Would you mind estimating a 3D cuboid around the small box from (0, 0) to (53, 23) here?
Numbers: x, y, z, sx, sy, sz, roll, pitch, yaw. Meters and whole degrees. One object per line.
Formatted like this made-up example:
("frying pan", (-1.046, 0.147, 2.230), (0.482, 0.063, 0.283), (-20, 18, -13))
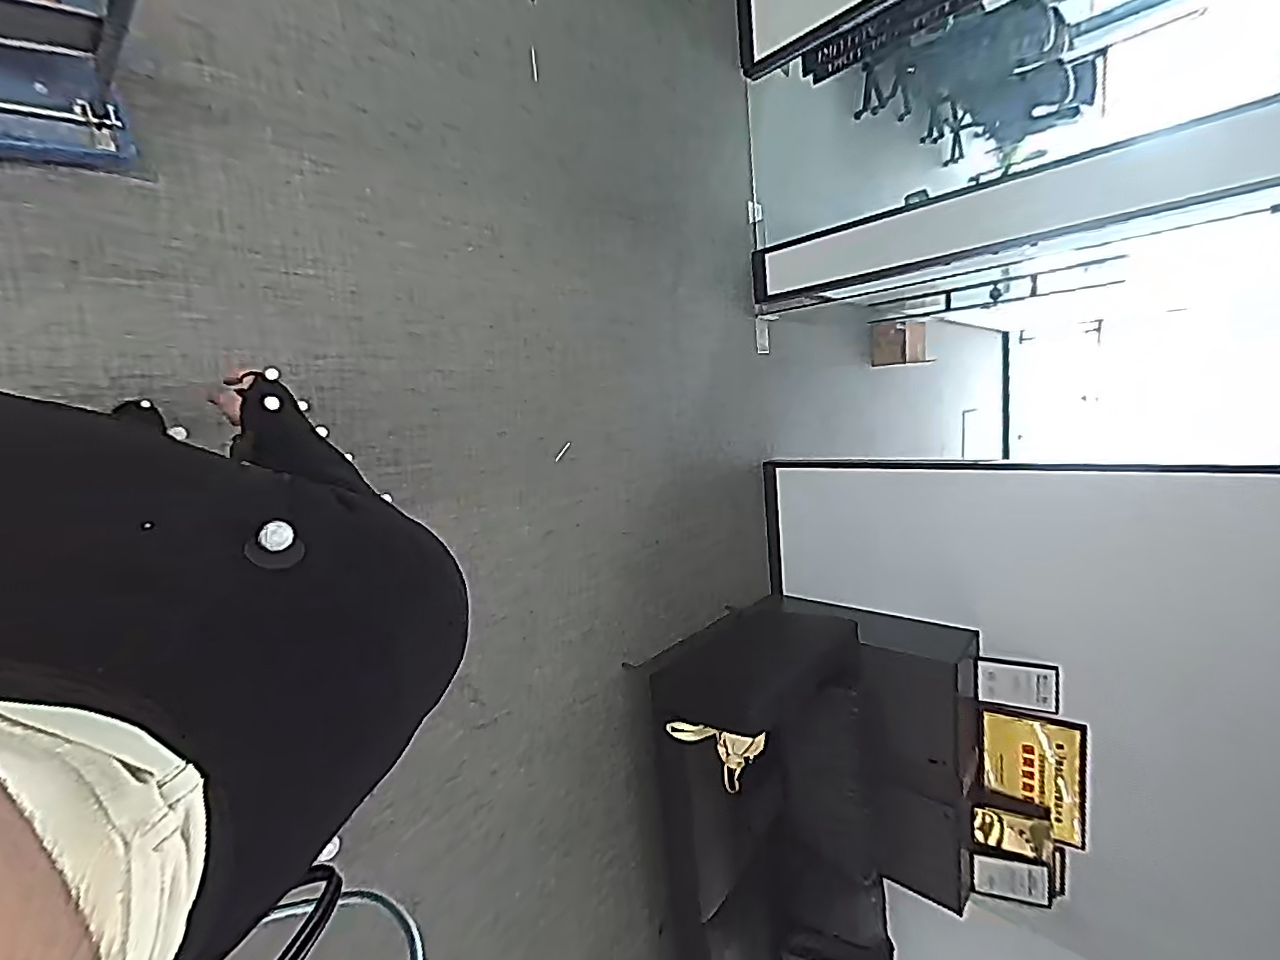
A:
("small box", (-1.094, -0.904, 0.873), (0.168, 0.176, 0.179), (-20, 107, -45))
